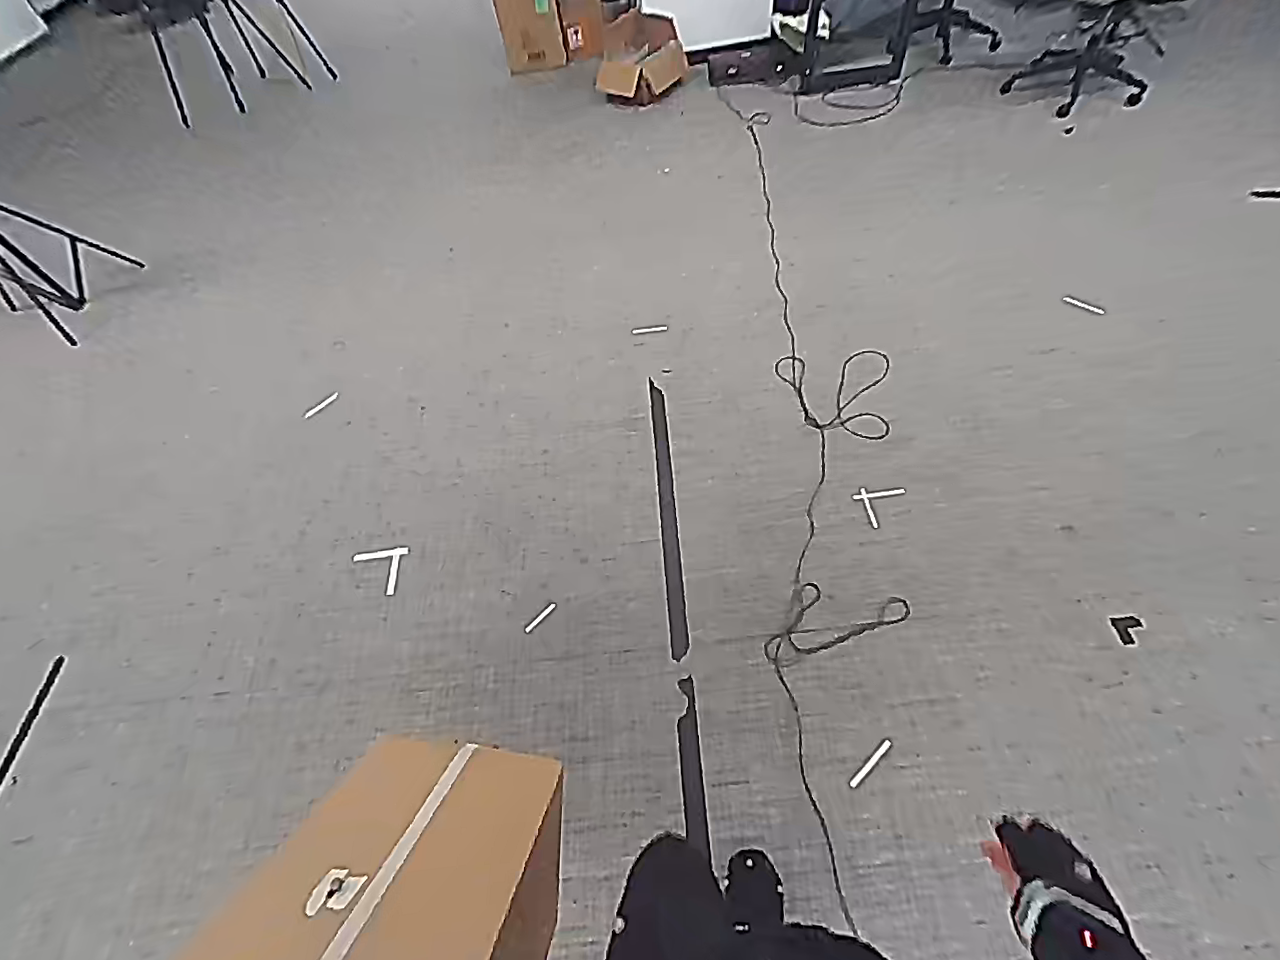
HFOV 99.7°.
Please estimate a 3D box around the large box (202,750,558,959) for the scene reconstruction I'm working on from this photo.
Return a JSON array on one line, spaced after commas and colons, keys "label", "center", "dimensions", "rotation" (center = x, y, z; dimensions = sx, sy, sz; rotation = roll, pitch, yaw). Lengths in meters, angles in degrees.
[{"label": "large box", "center": [-0.312, 0.646, 0.728], "dimensions": [0.320, 0.408, 0.320], "rotation": [3, 101, 7]}]
